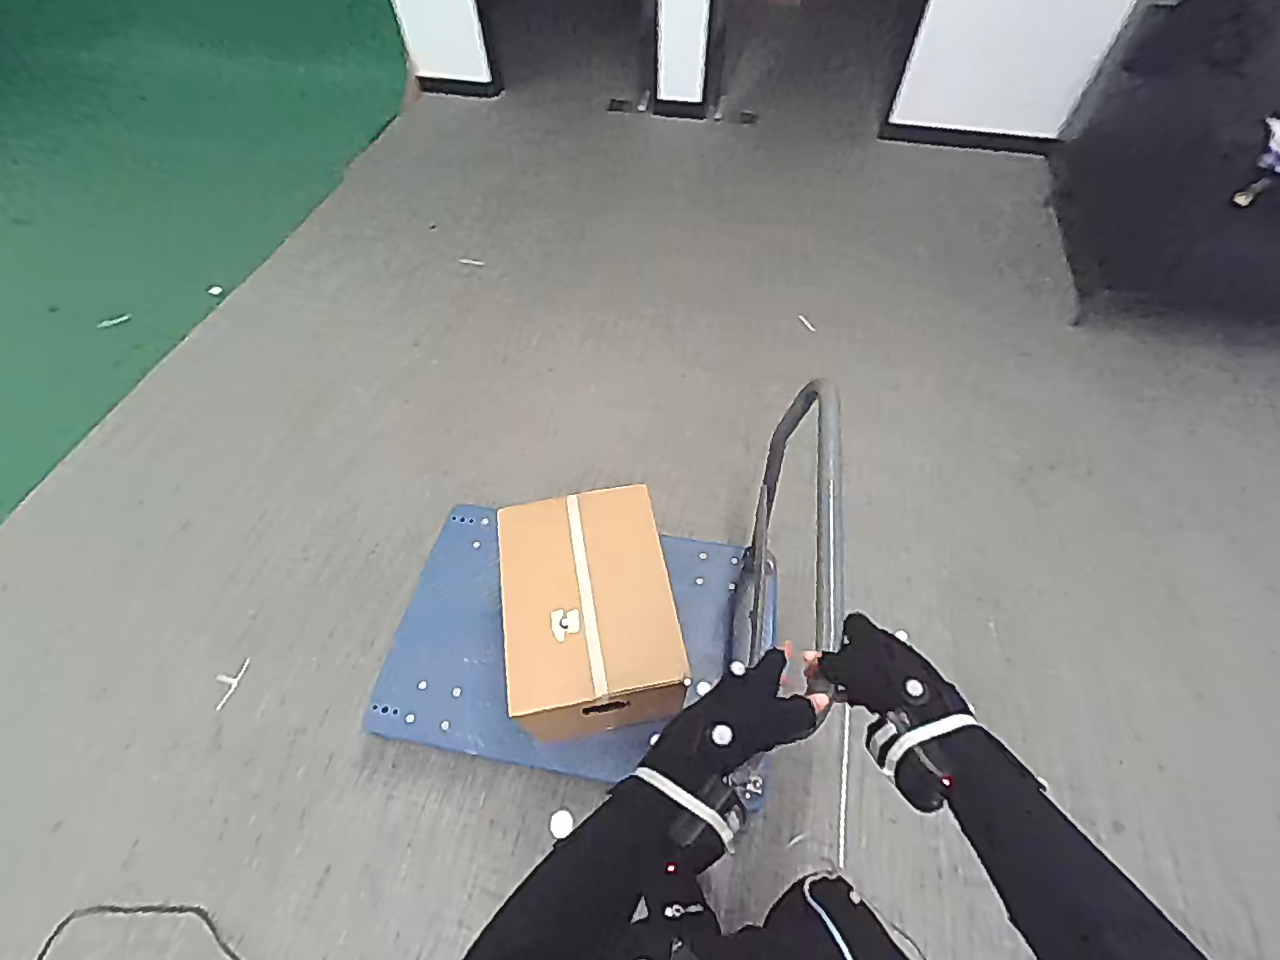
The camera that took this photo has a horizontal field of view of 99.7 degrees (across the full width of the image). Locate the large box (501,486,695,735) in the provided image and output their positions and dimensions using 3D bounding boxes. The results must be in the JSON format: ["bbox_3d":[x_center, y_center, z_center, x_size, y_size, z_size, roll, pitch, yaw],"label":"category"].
[{"bbox_3d":[-0.094,0.279,1.148,0.320,0.320,0.408,-10,58,-5],"label":"large box"}]
